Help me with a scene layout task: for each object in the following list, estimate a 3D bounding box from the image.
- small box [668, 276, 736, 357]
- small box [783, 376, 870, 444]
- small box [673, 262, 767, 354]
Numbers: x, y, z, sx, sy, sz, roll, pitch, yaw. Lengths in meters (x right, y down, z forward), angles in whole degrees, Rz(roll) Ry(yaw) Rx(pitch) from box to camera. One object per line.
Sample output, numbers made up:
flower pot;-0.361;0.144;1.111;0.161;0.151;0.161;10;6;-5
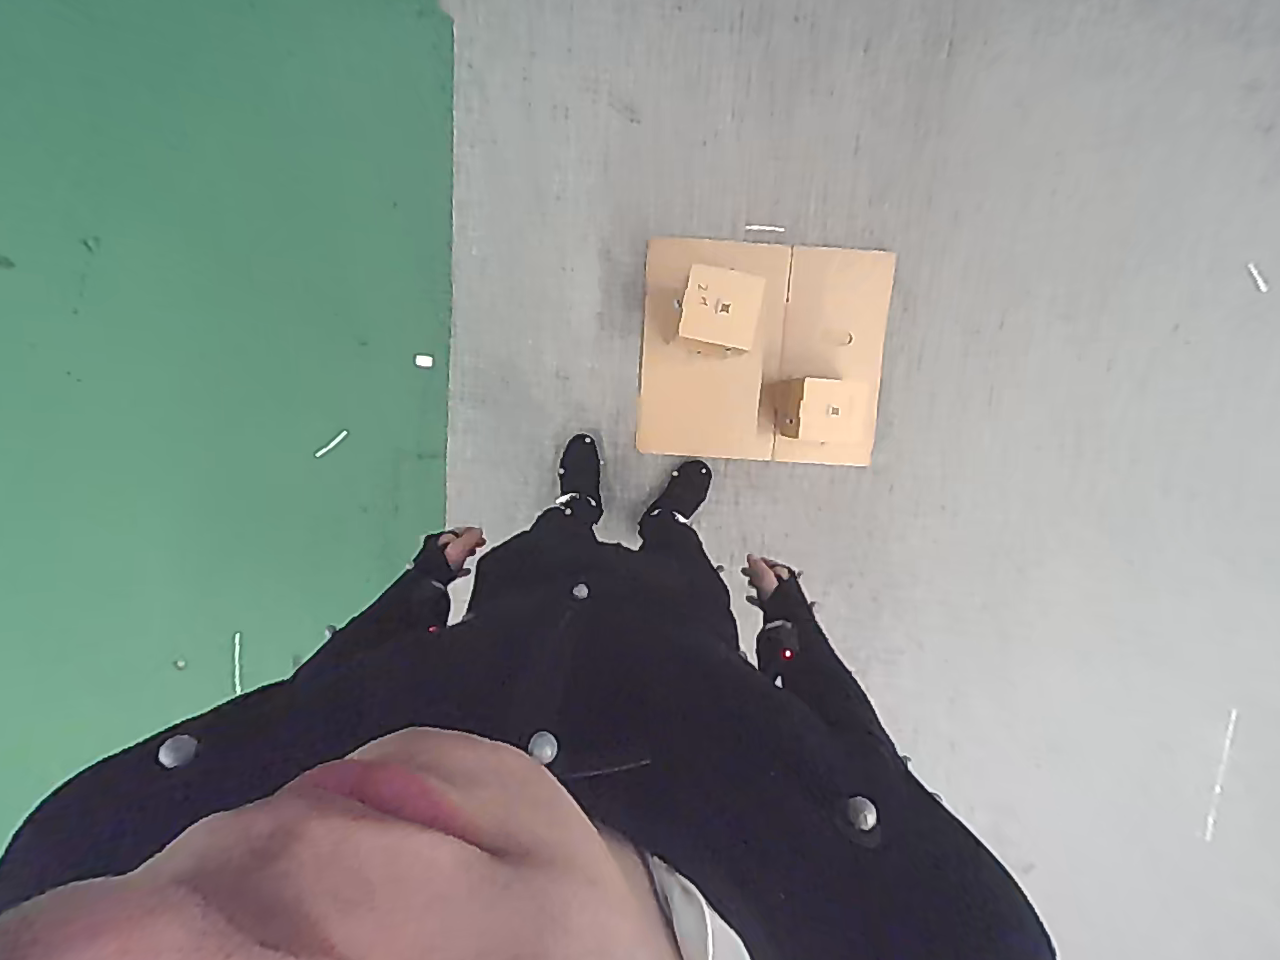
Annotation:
small box;0.180;-0.431;1.454;0.179;0.176;0.168;12;98;-2
small box;0.505;-0.193;1.493;0.179;0.176;0.168;5;98;-1
small box;0.183;-0.400;1.291;0.179;0.176;0.168;11;98;-2
